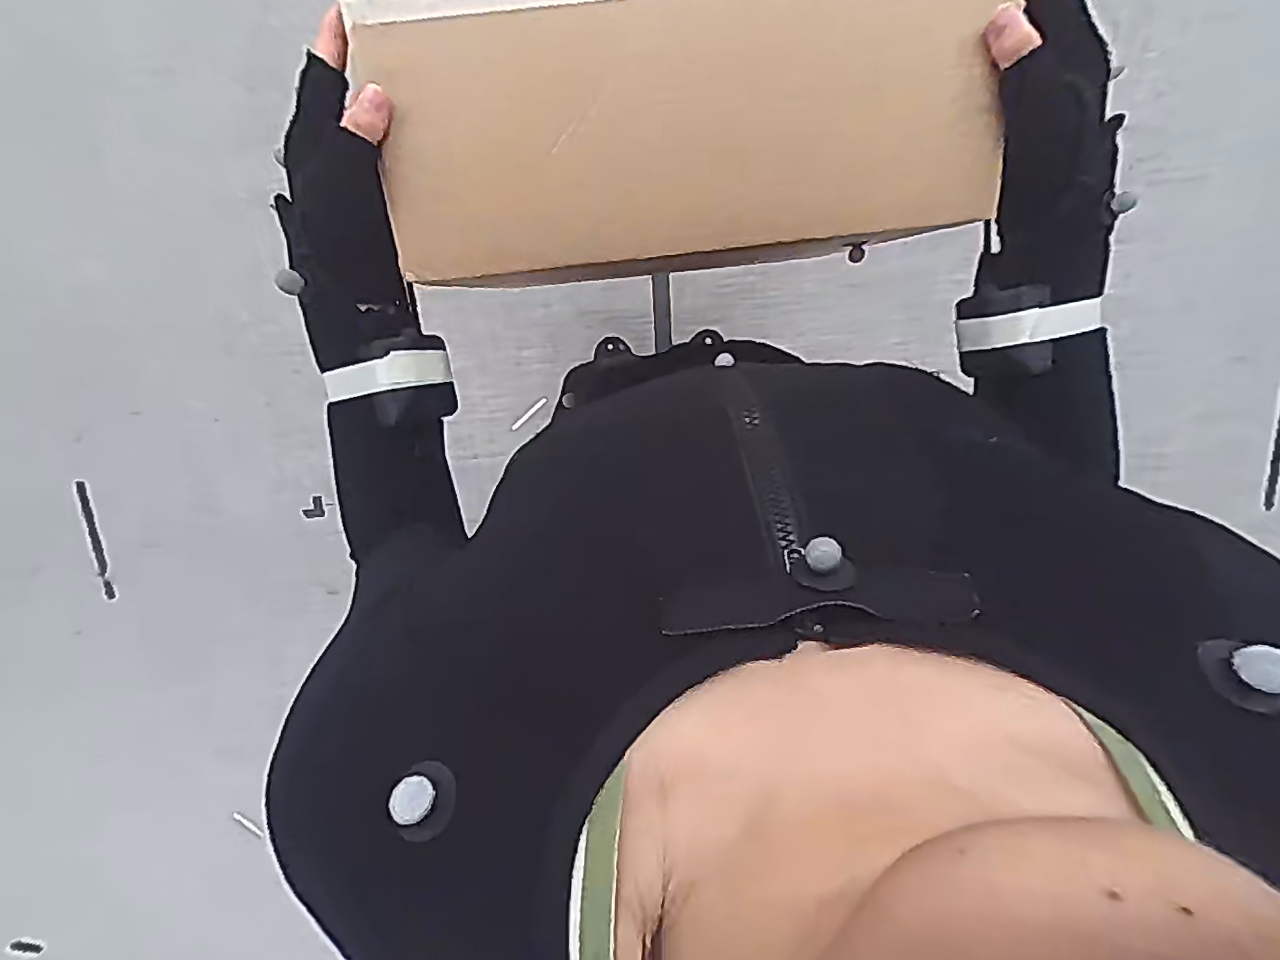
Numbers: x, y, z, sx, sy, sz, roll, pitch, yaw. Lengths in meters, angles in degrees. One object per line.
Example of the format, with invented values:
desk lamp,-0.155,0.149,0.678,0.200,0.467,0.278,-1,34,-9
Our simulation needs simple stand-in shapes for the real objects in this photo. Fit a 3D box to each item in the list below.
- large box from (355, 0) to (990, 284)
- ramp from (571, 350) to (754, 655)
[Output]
large box,0.019,-0.357,0.474,0.408,0.320,0.320,-6,109,1
ramp,0.095,0.123,1.630,0.509,0.206,0.991,-6,104,1
